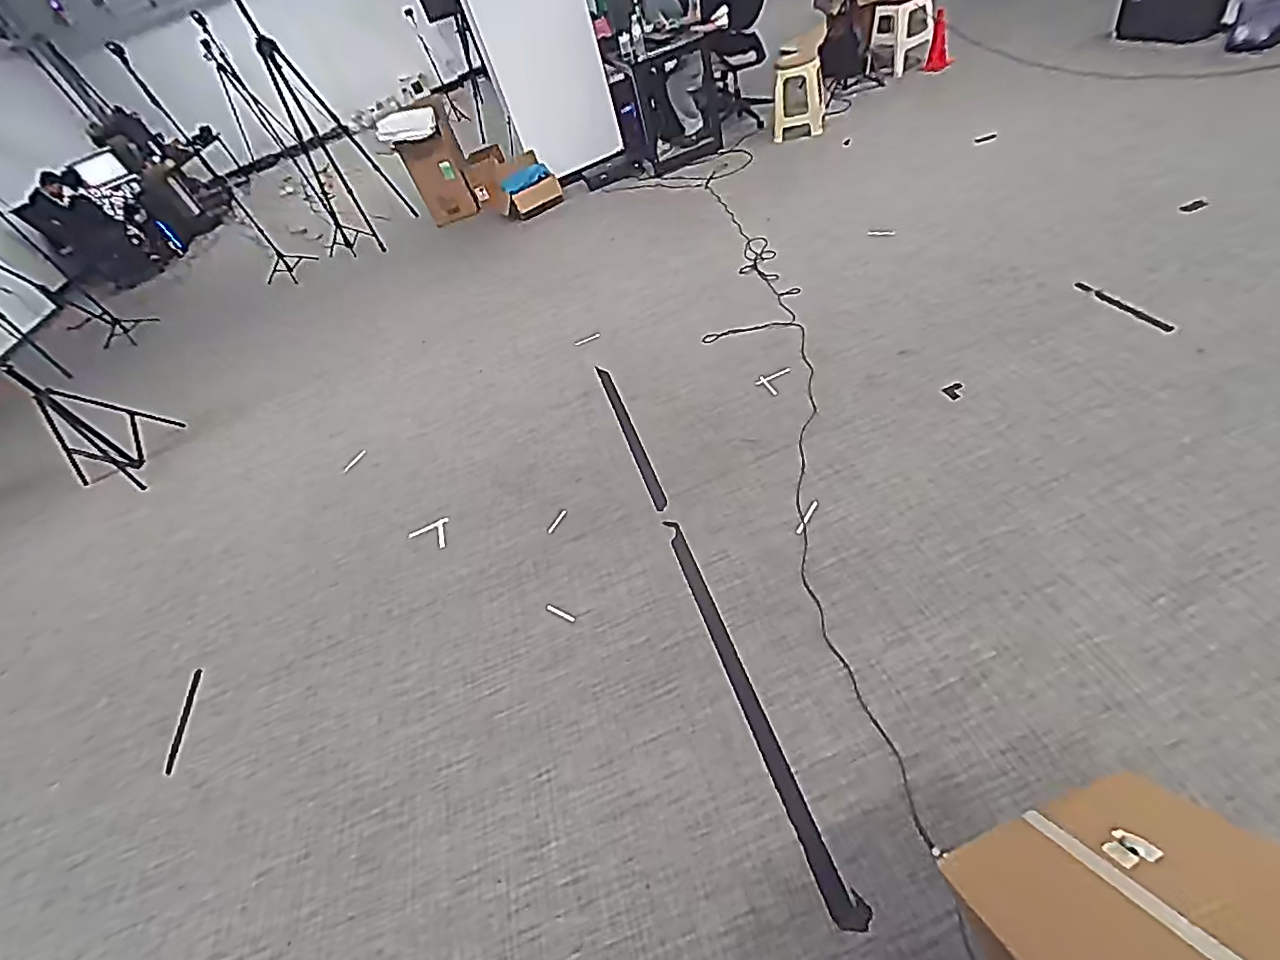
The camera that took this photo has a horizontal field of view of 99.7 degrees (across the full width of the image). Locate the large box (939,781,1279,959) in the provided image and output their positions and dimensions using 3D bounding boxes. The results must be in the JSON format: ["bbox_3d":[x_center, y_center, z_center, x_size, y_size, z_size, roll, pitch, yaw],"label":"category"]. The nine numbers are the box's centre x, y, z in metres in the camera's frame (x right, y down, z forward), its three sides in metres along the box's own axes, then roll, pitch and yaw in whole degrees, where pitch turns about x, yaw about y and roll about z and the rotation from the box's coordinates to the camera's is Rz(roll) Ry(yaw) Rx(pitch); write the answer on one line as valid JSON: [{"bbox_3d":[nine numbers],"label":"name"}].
[{"bbox_3d":[0.641,0.624,0.593,0.320,0.408,0.320,-24,83,-2],"label":"large box"}]
